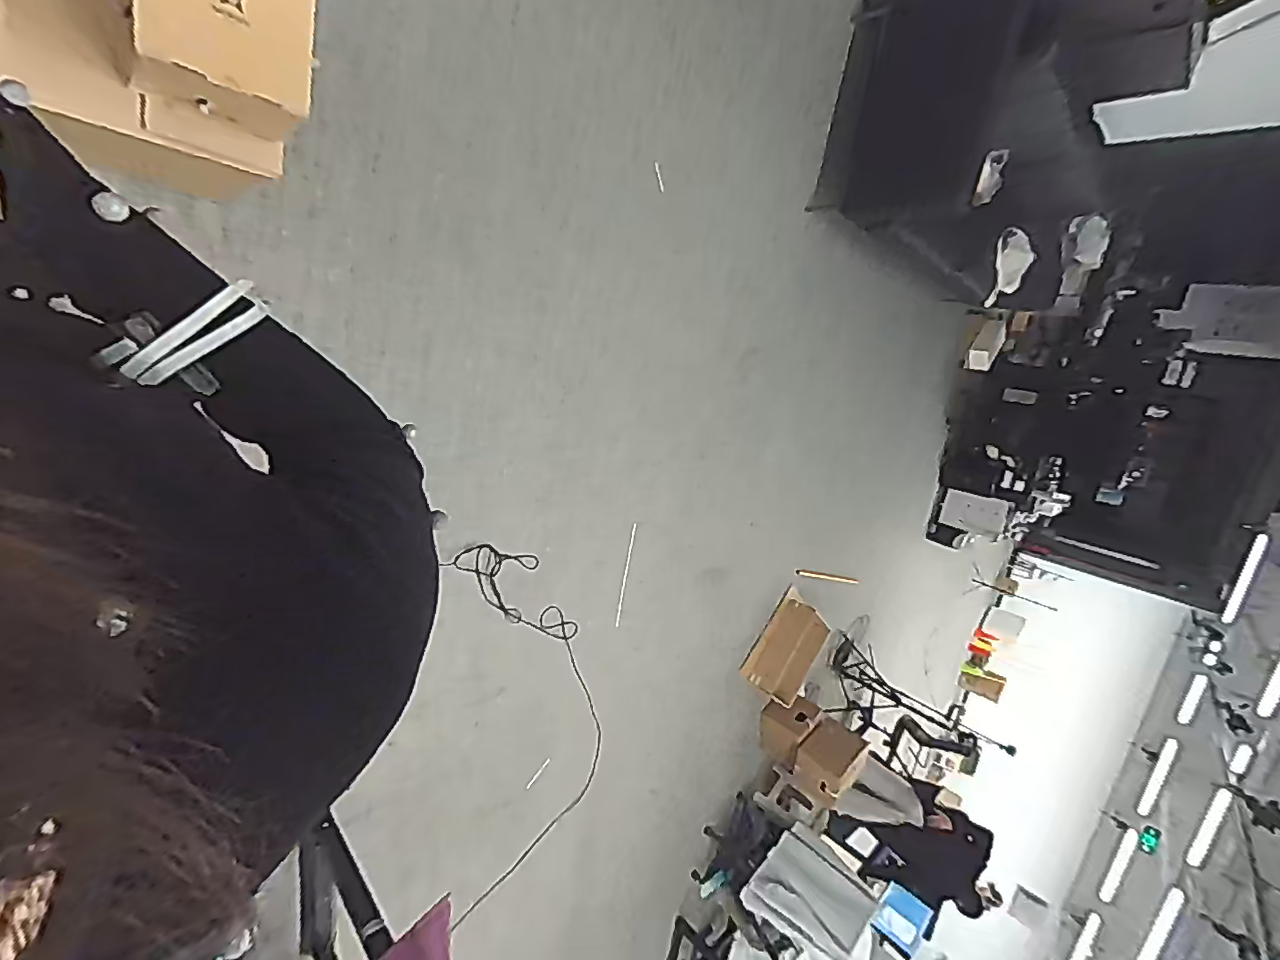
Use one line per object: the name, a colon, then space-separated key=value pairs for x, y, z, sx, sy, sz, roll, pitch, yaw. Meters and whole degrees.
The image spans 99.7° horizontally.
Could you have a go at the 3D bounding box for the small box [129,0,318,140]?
small box: x=-0.515 y=-0.555 z=0.667 sx=0.168 sy=0.176 sz=0.179 roll=-2 pitch=107 yaw=-45
